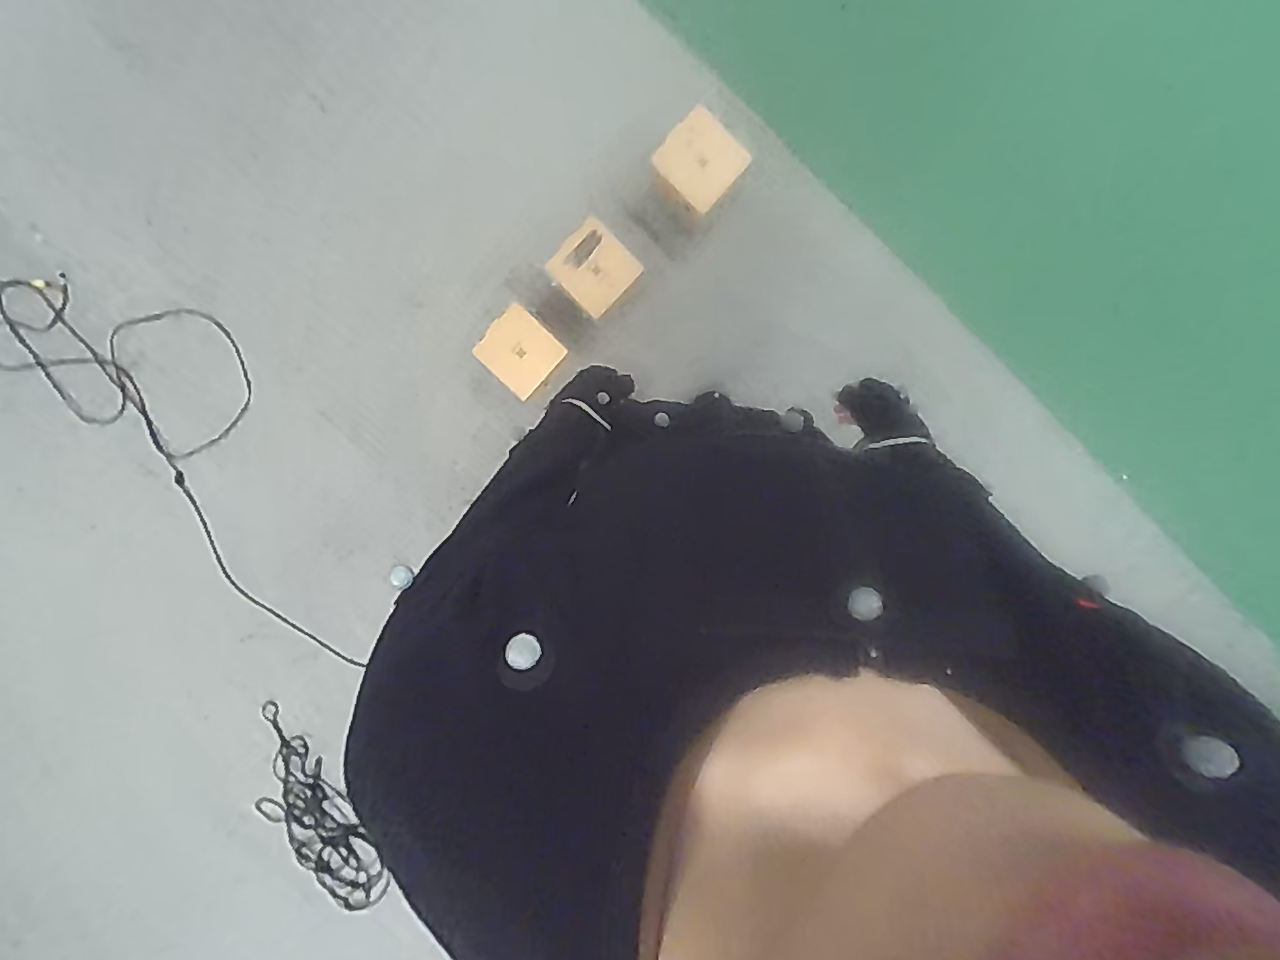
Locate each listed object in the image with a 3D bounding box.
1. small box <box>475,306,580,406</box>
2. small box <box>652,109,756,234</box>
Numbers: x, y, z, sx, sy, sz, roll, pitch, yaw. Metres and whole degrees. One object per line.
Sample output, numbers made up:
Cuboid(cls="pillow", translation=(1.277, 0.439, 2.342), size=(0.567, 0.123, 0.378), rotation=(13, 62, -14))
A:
Cuboid(cls="small box", translation=(-0.273, -0.306, 1.358), size=(0.179, 0.176, 0.168), rotation=(43, 98, -3))
Cuboid(cls="small box", translation=(0.146, -0.713, 1.282), size=(0.179, 0.176, 0.168), rotation=(43, 97, -4))
